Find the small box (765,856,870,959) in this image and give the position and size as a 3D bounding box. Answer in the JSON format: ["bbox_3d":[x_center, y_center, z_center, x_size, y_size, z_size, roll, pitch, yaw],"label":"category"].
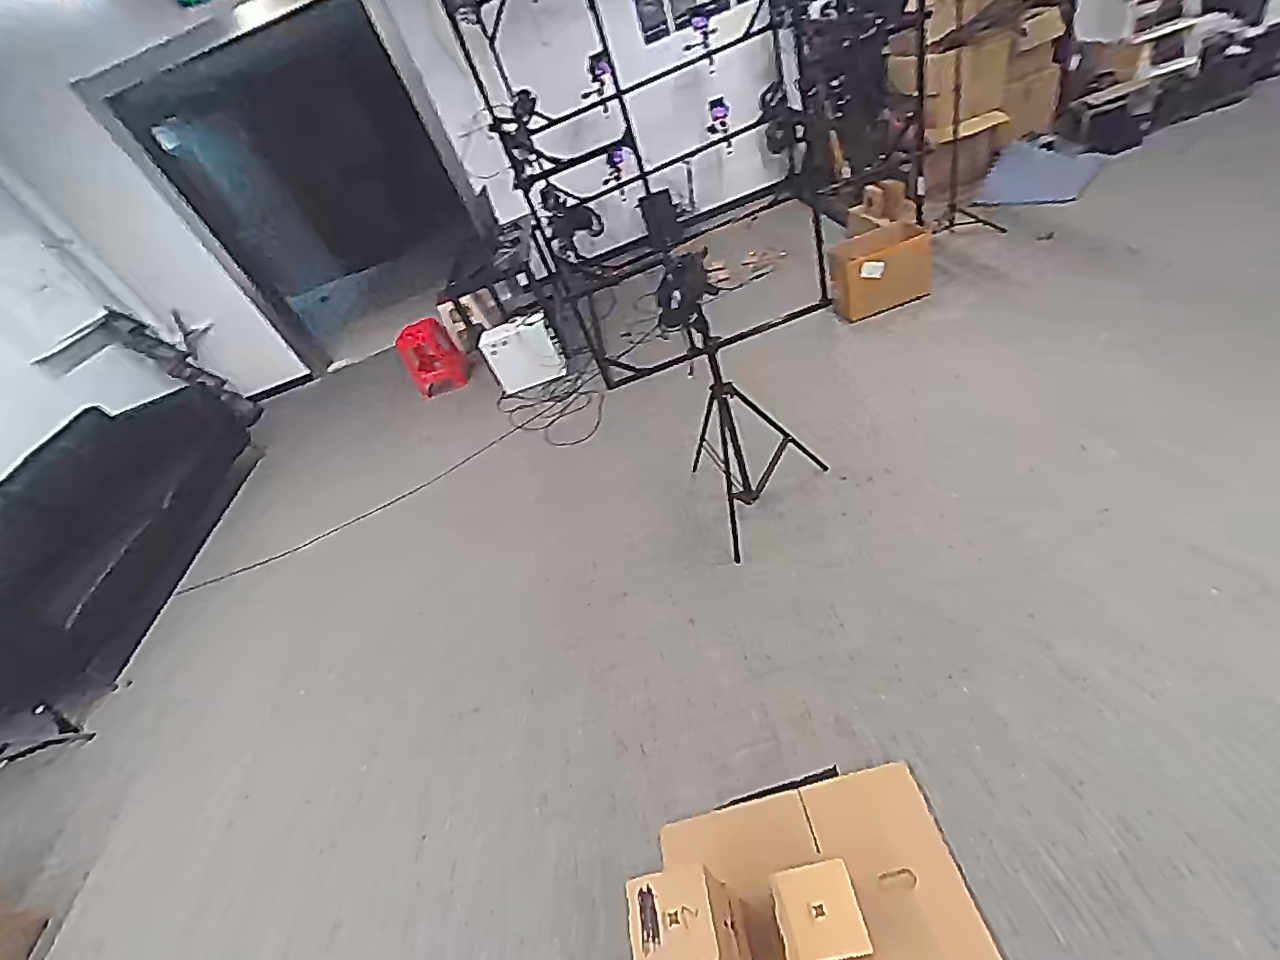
[{"bbox_3d":[0.396,0.971,1.208,0.179,0.176,0.168,-18,40,7],"label":"small box"}]

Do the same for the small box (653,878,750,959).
[{"bbox_3d":[0.145,1.049,1.242,0.179,0.176,0.168,-20,39,7],"label":"small box"}]
